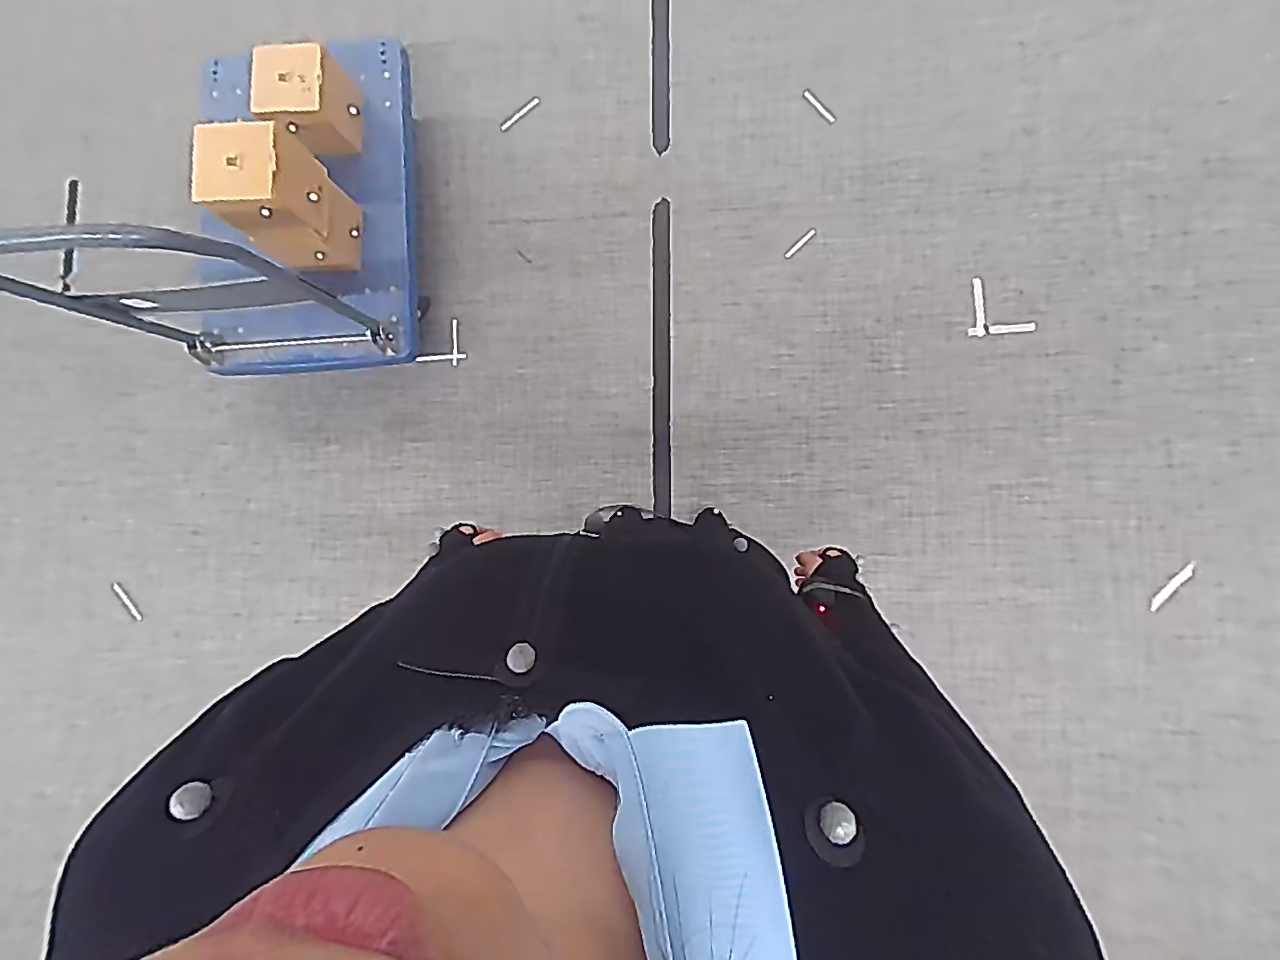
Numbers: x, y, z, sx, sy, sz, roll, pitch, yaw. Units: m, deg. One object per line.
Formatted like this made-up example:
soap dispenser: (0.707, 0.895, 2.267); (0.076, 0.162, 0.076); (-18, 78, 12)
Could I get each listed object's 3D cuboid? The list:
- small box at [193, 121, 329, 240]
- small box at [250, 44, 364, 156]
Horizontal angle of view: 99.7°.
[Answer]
small box: (-0.812, -0.637, 1.170); (0.179, 0.176, 0.168); (-1, 87, 3)
small box: (-0.822, -0.936, 1.347); (0.179, 0.176, 0.168); (1, 88, 4)
